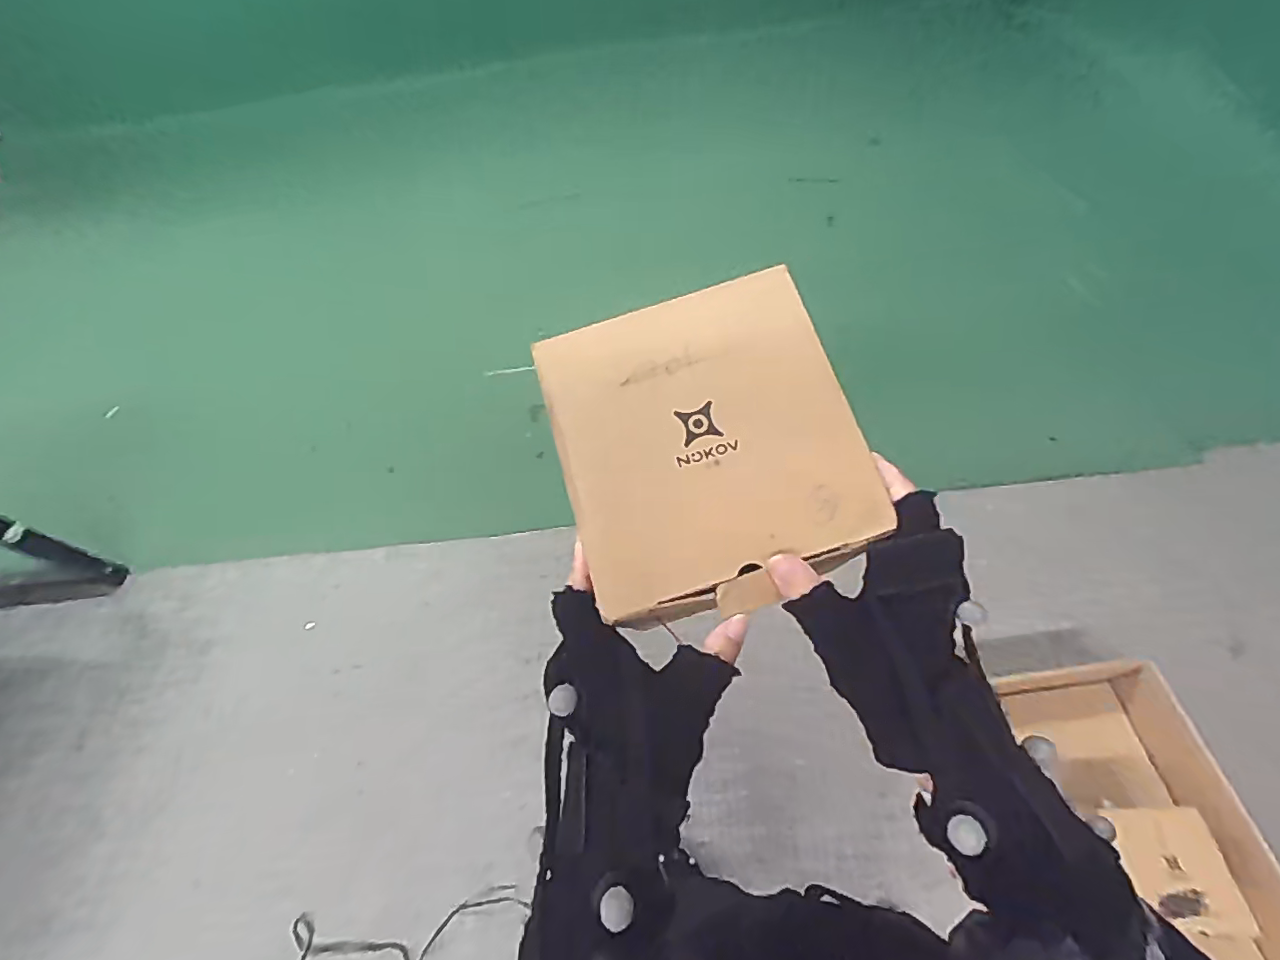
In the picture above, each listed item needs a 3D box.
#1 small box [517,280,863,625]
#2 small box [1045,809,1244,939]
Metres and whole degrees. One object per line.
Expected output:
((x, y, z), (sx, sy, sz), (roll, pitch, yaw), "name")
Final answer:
((0.031, -0.002, 0.394), (0.168, 0.176, 0.179), (-18, 72, 1), "small box")
((0.886, 0.699, 0.974), (0.168, 0.176, 0.179), (-3, 56, 5), "small box")
